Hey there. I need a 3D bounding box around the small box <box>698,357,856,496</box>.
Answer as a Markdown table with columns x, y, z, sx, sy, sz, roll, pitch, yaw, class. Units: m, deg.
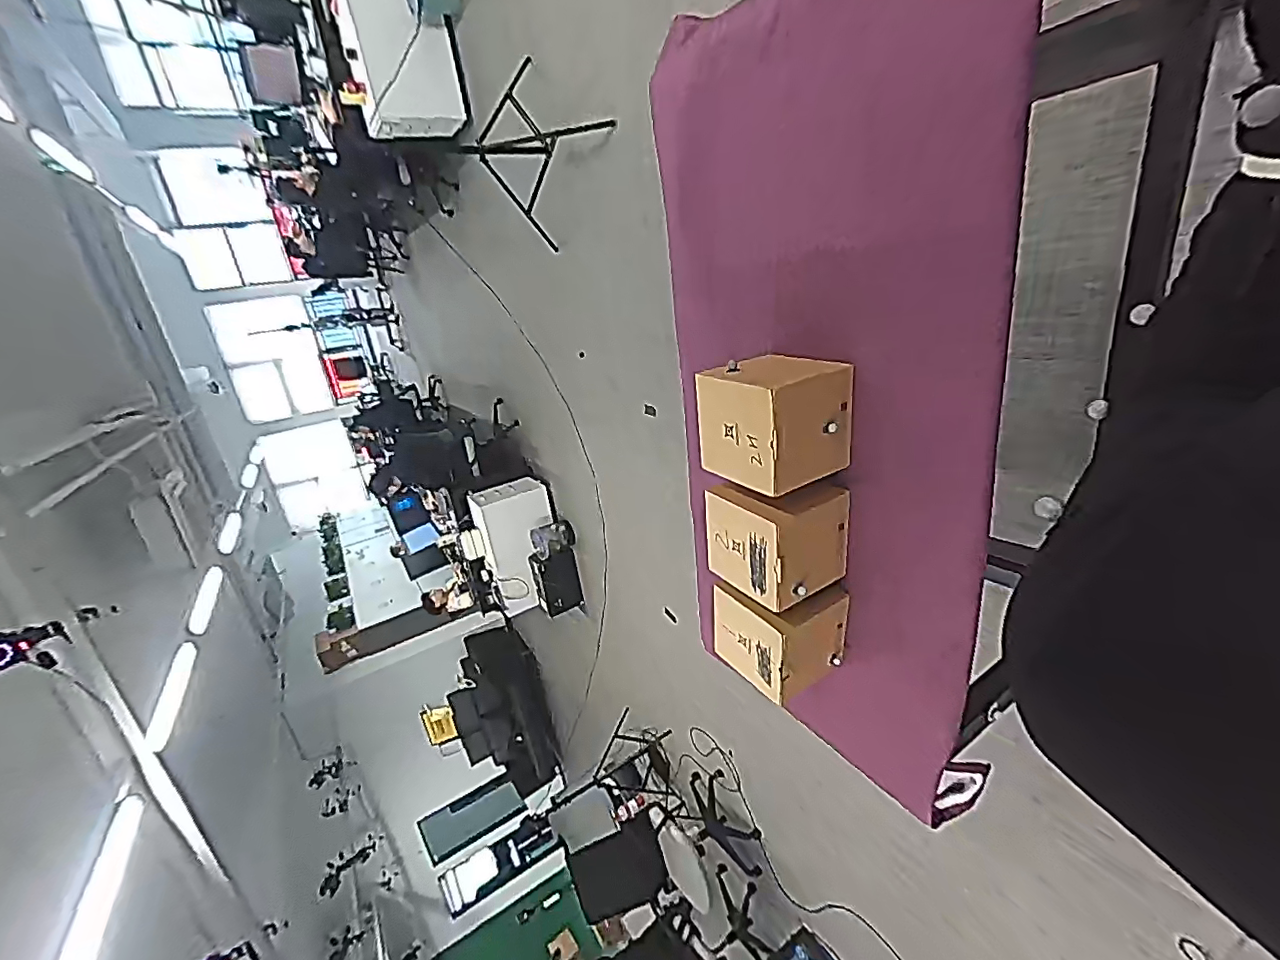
| x | y | z | sx | sy | sz | roll | pitch | yaw | class |
| --- | --- | --- | --- | --- | --- | --- | --- | --- | --- |
| 0.214 | -0.096 | 0.862 | 0.179 | 0.176 | 0.168 | 28 | 131 | 54 | small box |
